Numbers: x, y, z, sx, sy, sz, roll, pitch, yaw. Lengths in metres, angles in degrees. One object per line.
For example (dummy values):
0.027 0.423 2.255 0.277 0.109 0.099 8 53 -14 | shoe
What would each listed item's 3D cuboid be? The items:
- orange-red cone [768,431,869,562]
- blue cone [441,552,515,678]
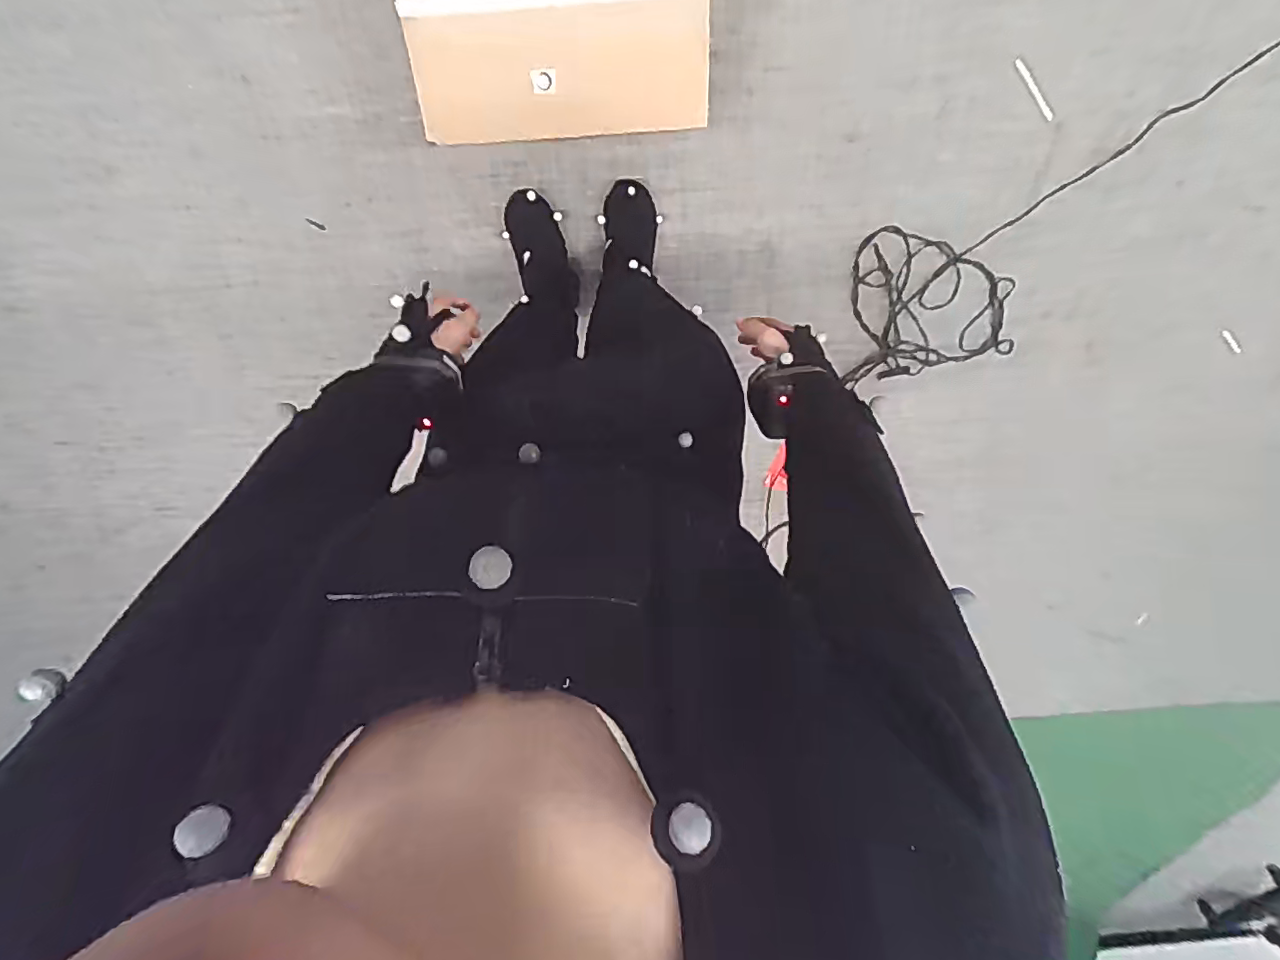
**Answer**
0.476 0.062 1.322 0.199 0.360 0.198 13 124 -13 | orange-red cone
-0.481 0.385 1.516 0.192 0.380 0.193 -3 124 0 | blue cone
